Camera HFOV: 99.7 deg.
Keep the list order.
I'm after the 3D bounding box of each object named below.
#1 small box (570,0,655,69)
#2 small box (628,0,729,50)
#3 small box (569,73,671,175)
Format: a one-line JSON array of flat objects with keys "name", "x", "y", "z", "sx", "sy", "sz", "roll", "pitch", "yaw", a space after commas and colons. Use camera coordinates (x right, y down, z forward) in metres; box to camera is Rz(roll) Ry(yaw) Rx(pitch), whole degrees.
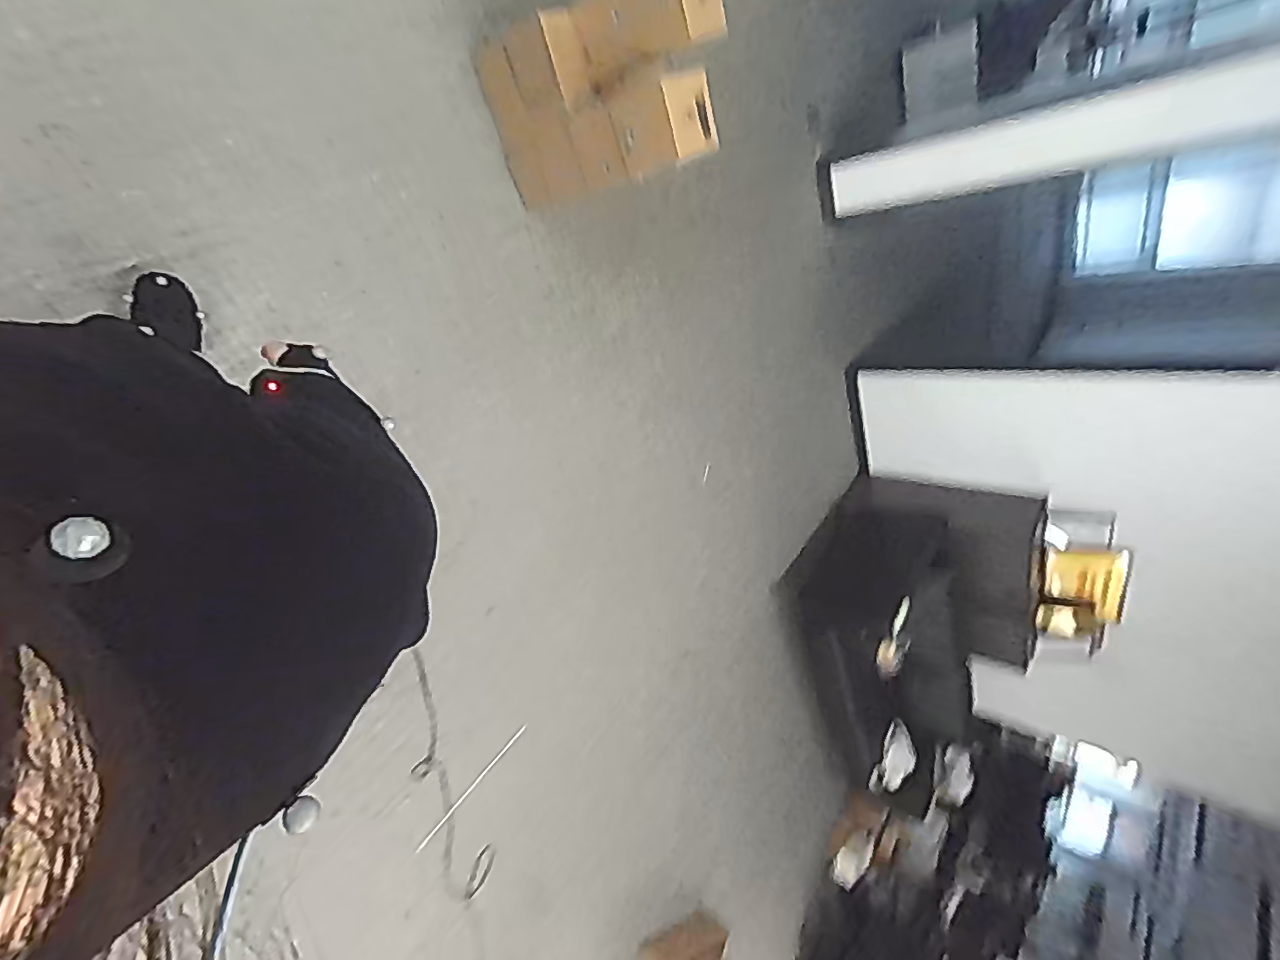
[{"name": "small box", "x": -0.044, "y": -1.176, "z": 1.367, "sx": 0.179, "sy": 0.176, "sz": 0.168, "roll": -44, "pitch": 127, "yaw": -34}, {"name": "small box", "x": 0.077, "y": -1.146, "z": 1.256, "sx": 0.168, "sy": 0.176, "sz": 0.179, "roll": -44, "pitch": 126, "yaw": -33}, {"name": "small box", "x": -0.052, "y": -0.920, "z": 1.411, "sx": 0.168, "sy": 0.176, "sz": 0.179, "roll": -45, "pitch": 128, "yaw": -33}]
